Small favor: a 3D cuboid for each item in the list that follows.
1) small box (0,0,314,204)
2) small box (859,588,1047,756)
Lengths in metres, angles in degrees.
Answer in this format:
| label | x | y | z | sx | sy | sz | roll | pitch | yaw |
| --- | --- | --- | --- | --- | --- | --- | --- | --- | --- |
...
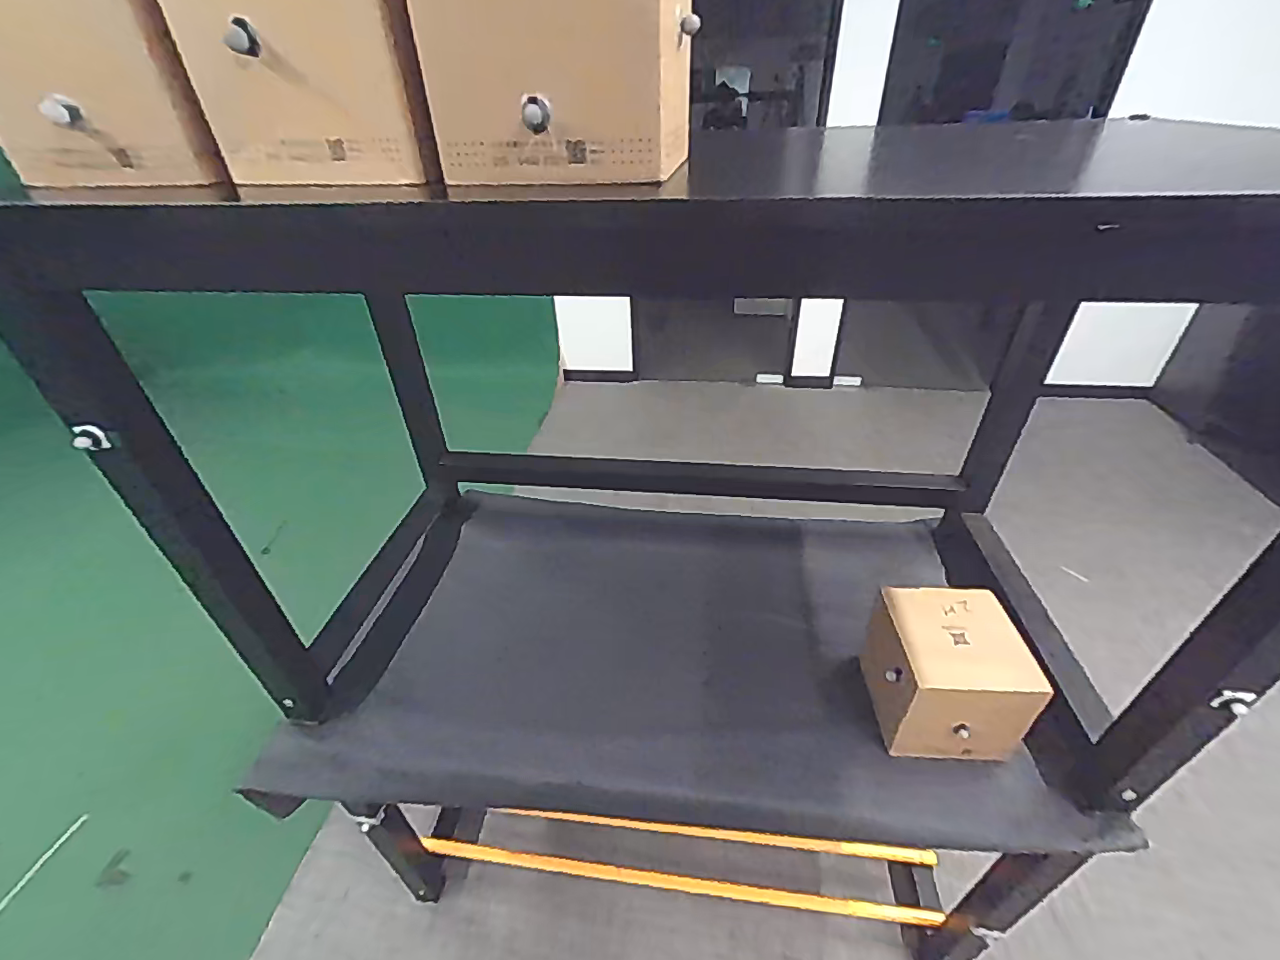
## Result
| label | x | y | z | sx | sy | sz | roll | pitch | yaw |
| --- | --- | --- | --- | --- | --- | --- | --- | --- | --- |
| small box | -0.420 | -0.348 | 0.467 | 0.168 | 0.176 | 0.179 | 2 | 37 | 5 |
| small box | 0.441 | 0.281 | 0.797 | 0.168 | 0.176 | 0.179 | 1 | 35 | 4 |
